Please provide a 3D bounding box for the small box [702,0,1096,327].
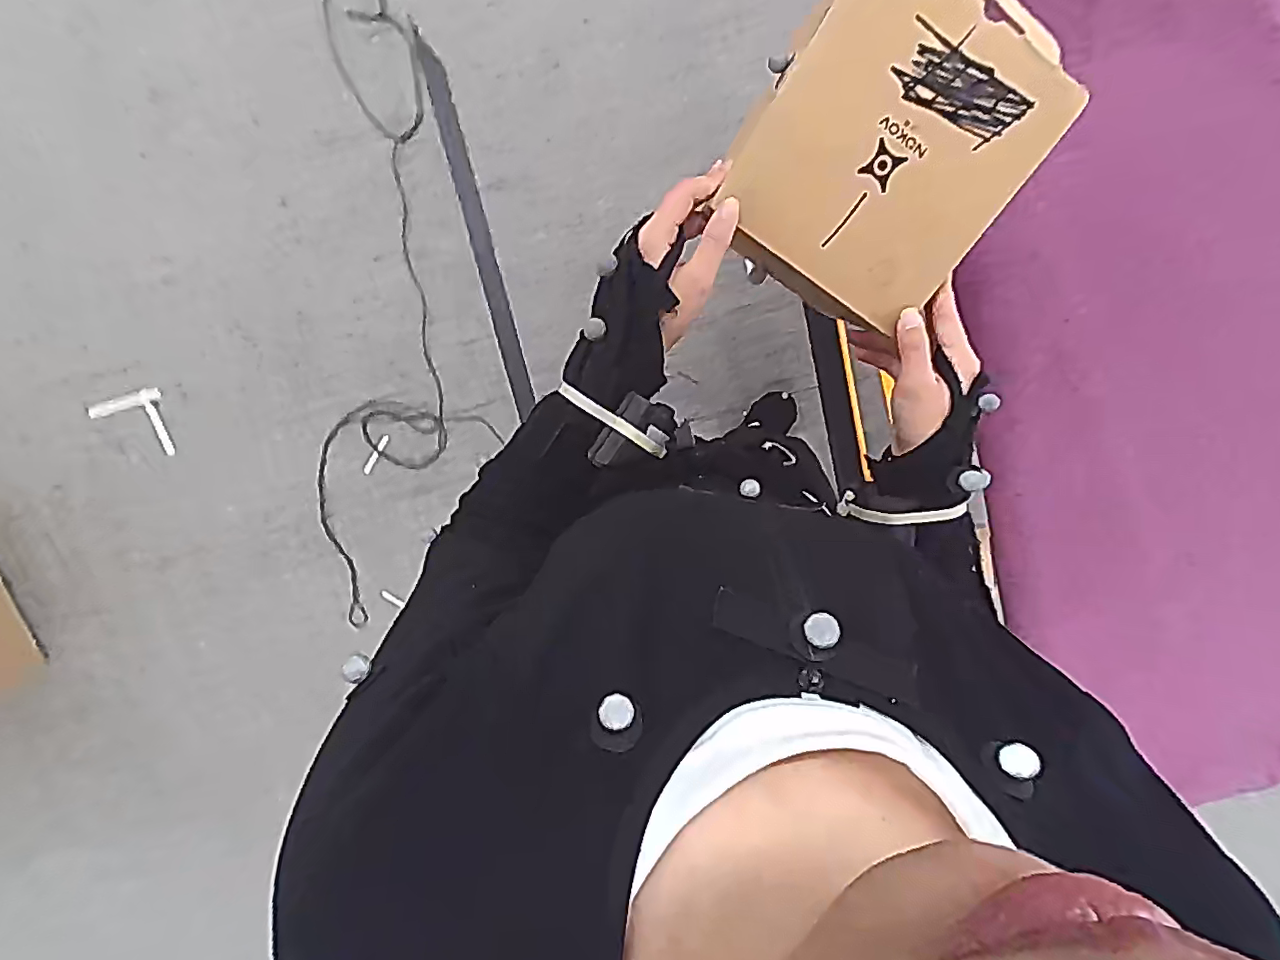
[{"bbox_3d":[0.160,-0.245,0.406,0.168,0.176,0.179,30,111,-12],"label":"small box"}]
